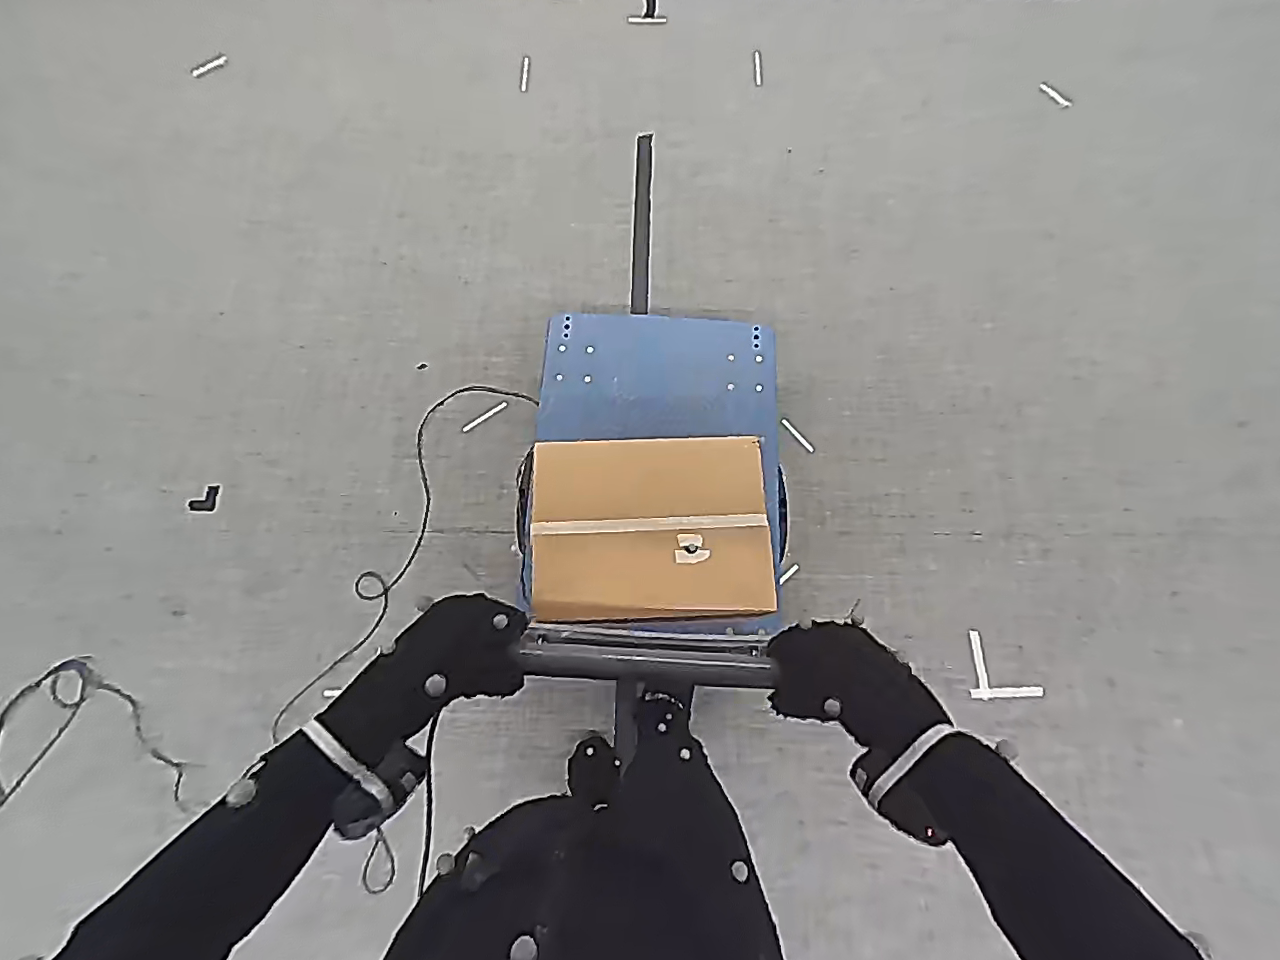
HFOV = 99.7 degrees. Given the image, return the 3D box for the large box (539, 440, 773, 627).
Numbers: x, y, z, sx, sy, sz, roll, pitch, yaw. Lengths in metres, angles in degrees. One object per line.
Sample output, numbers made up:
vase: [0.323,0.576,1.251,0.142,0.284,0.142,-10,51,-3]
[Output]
large box: [0.016,0.124,1.091,0.408,0.320,0.320,-2,74,-2]
